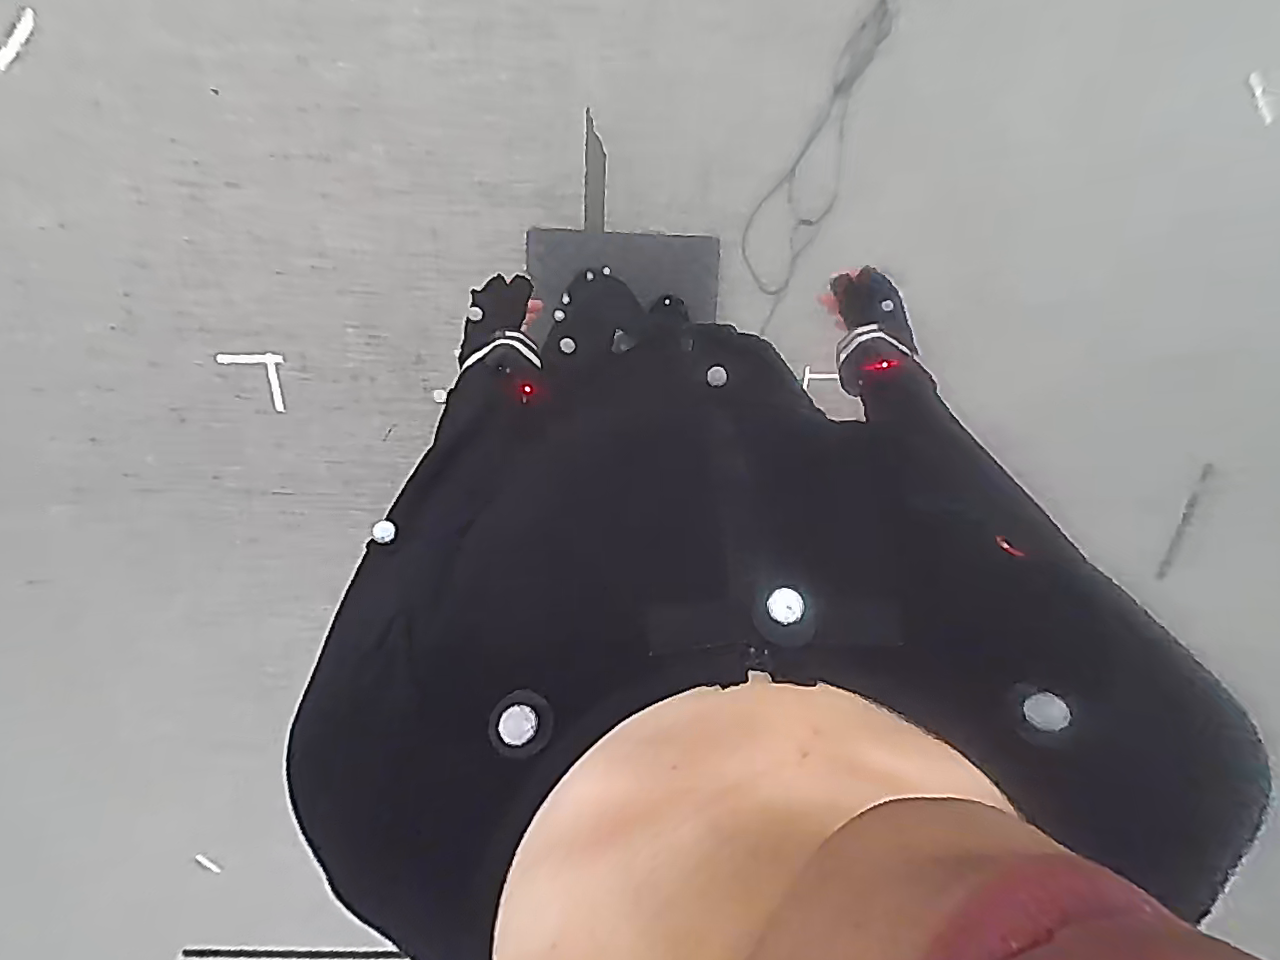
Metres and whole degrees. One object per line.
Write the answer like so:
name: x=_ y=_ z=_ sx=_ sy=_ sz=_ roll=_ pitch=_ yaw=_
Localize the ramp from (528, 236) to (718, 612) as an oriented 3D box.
ramp: x=-0.056 y=-0.125 z=1.452 sx=0.509 sy=0.206 sz=0.991 roll=0 pitch=109 yaw=0
